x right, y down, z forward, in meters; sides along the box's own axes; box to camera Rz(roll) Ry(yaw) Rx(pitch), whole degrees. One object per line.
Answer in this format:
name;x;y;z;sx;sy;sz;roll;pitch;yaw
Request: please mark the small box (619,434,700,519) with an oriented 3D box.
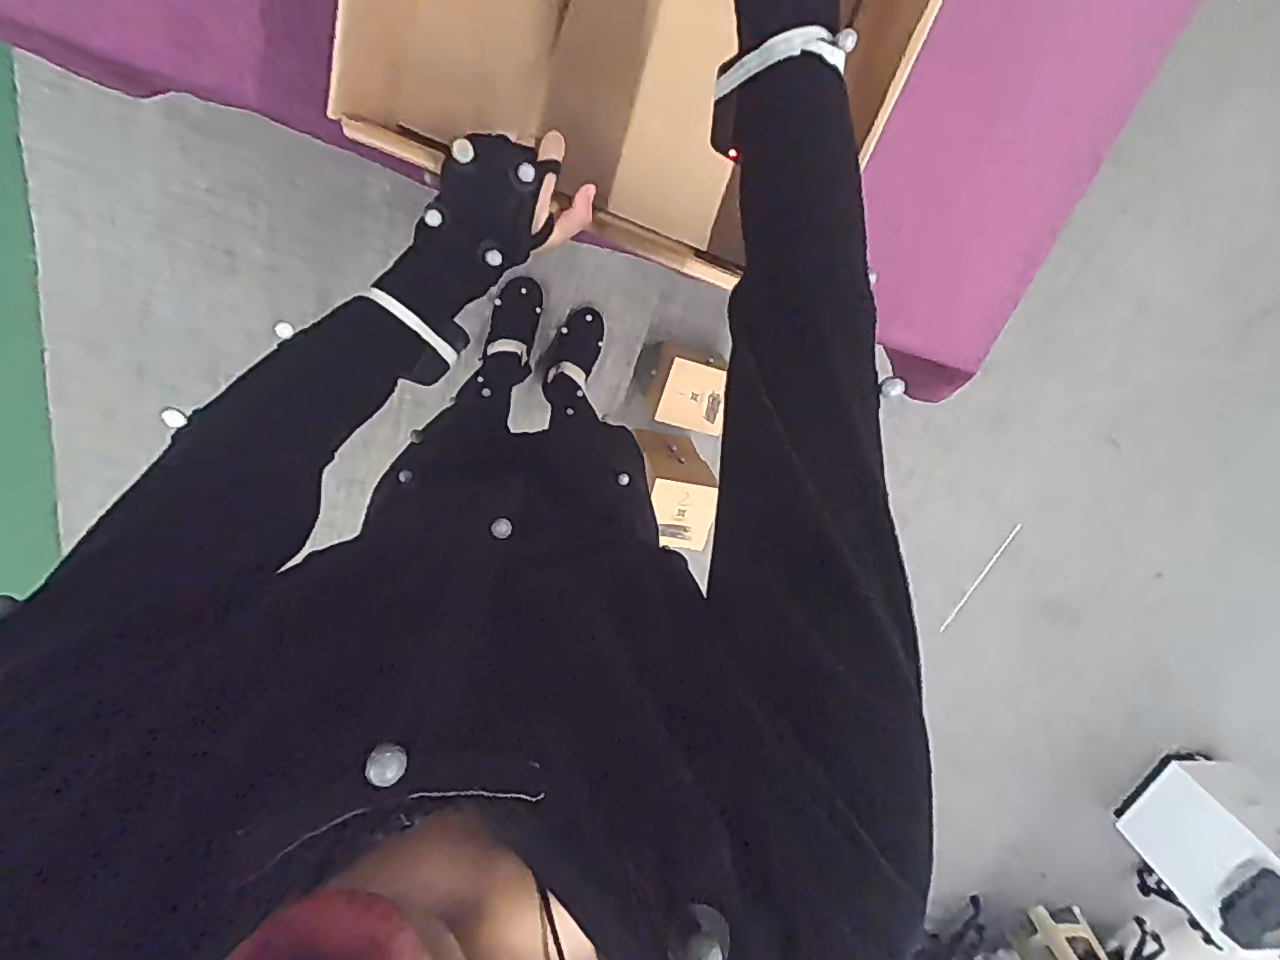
small box;0.045;-0.015;1.491;0.179;0.176;0.168;10;114;-13
